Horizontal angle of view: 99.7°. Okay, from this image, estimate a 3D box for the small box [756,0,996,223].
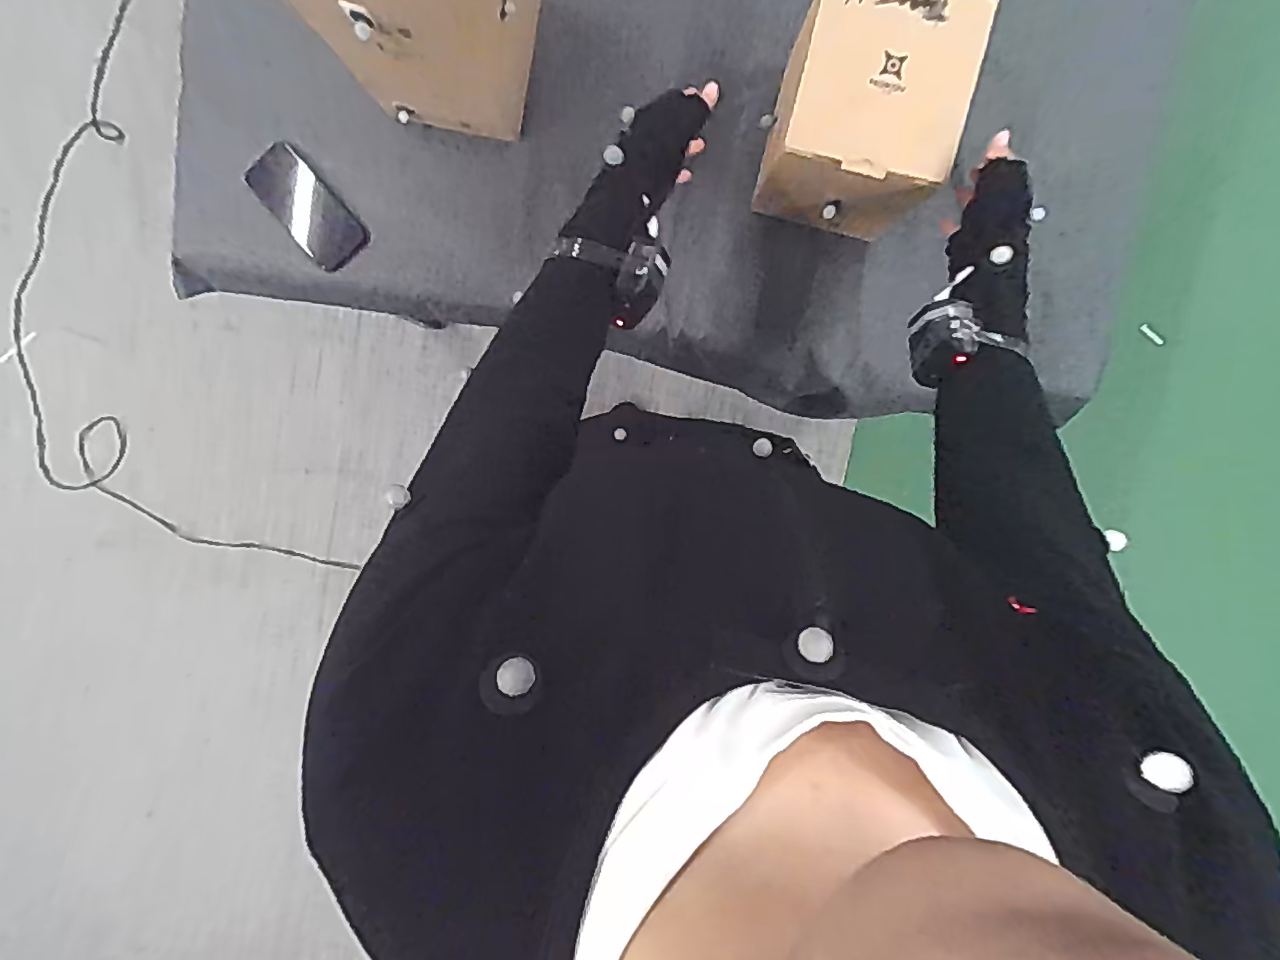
[{"bbox_3d":[0.235,-0.406,0.589,0.168,0.176,0.179,14,98,-1],"label":"small box"}]

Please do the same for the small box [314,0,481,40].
[{"bbox_3d":[-0.217,-0.498,0.414,0.168,0.176,0.179,11,99,-1],"label":"small box"}]

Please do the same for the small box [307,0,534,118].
[{"bbox_3d":[-0.217,-0.526,0.573,0.168,0.176,0.179,11,97,-2],"label":"small box"}]
